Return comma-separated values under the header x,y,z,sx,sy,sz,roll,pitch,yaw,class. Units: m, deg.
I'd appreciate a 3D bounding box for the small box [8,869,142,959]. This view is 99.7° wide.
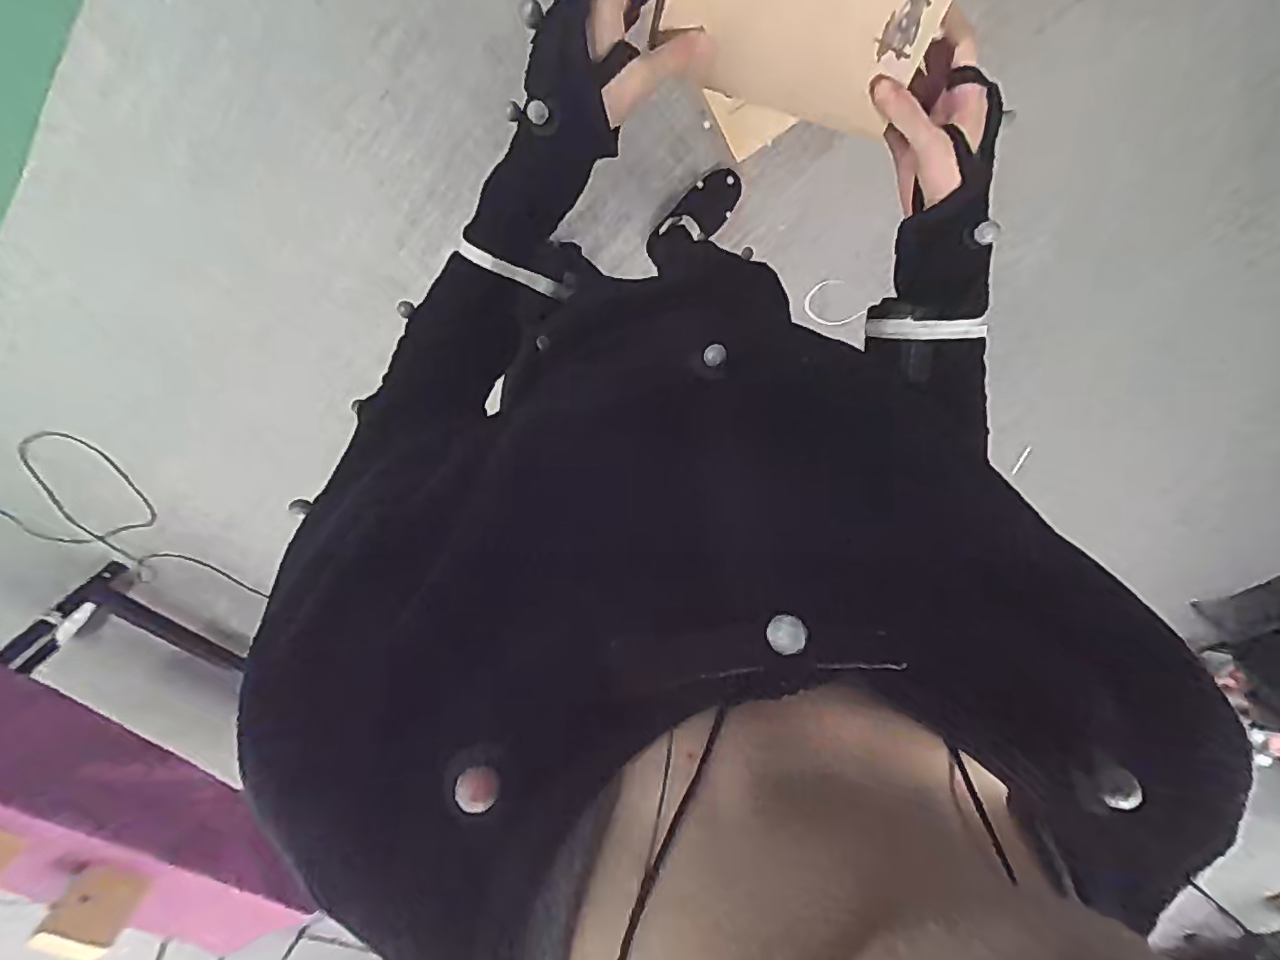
x,y,z,sx,sy,sz,roll,pitch,yaw,class
-1.605,1.246,1.545,0.168,0.176,0.179,-35,116,22,small box

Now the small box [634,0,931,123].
x,y,z,sx,sy,sz,roll,pitch,yaw,class
0.101,-0.379,0.363,0.179,0.176,0.168,11,138,-11,small box

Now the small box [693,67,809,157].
x,y,z,sx,sy,sz,roll,pitch,yaw,class
0.218,-0.779,1.078,0.179,0.176,0.168,-28,117,18,small box
